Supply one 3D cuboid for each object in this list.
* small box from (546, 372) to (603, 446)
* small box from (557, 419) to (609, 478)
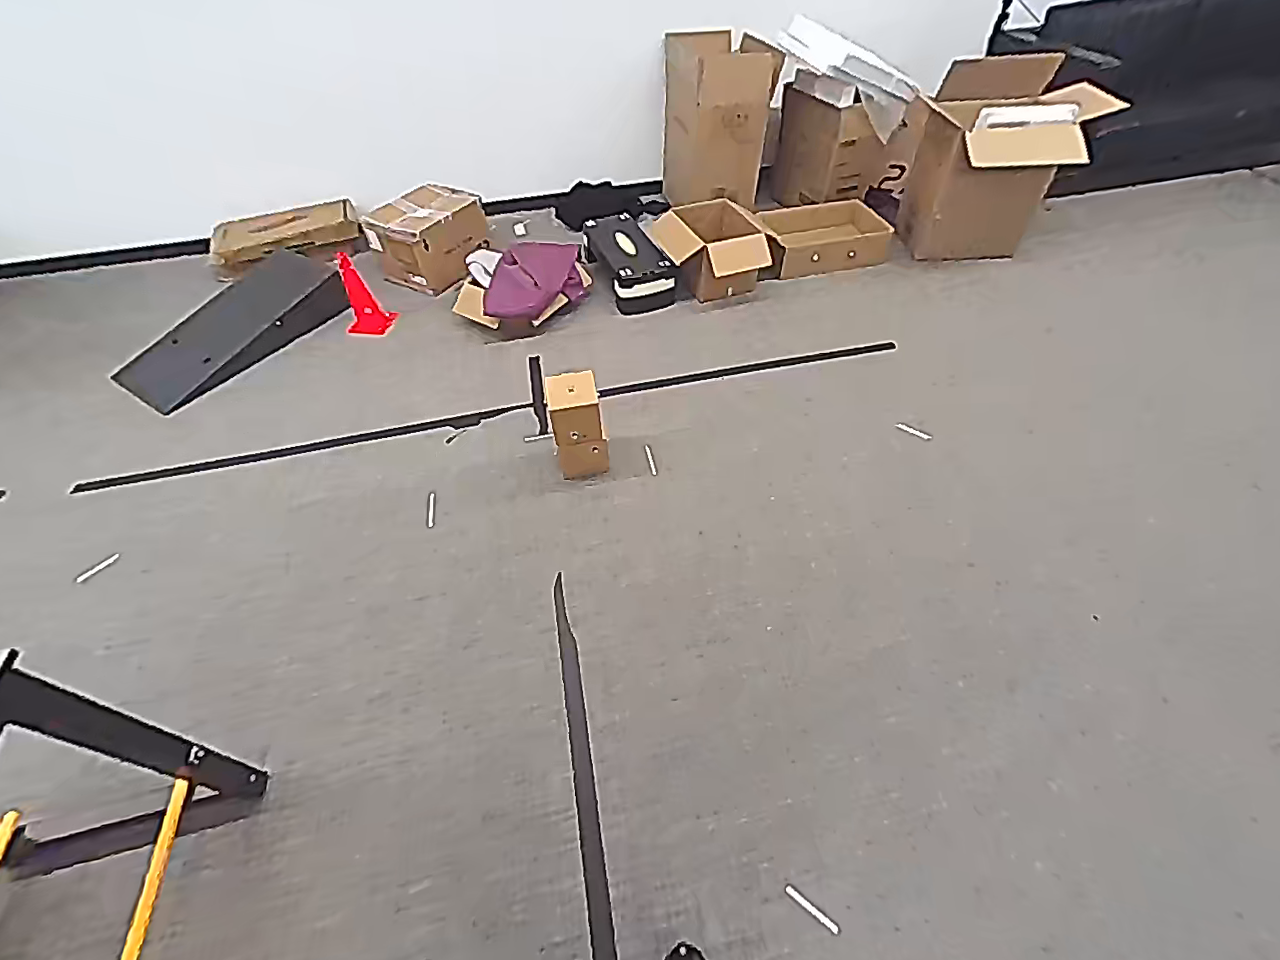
[{"bbox_3d":[-0.223,-0.242,1.857,0.168,0.176,0.179,-10,51,-6],"label":"small box"},{"bbox_3d":[-0.212,-0.129,1.974,0.179,0.176,0.168,-11,50,-7],"label":"small box"}]
